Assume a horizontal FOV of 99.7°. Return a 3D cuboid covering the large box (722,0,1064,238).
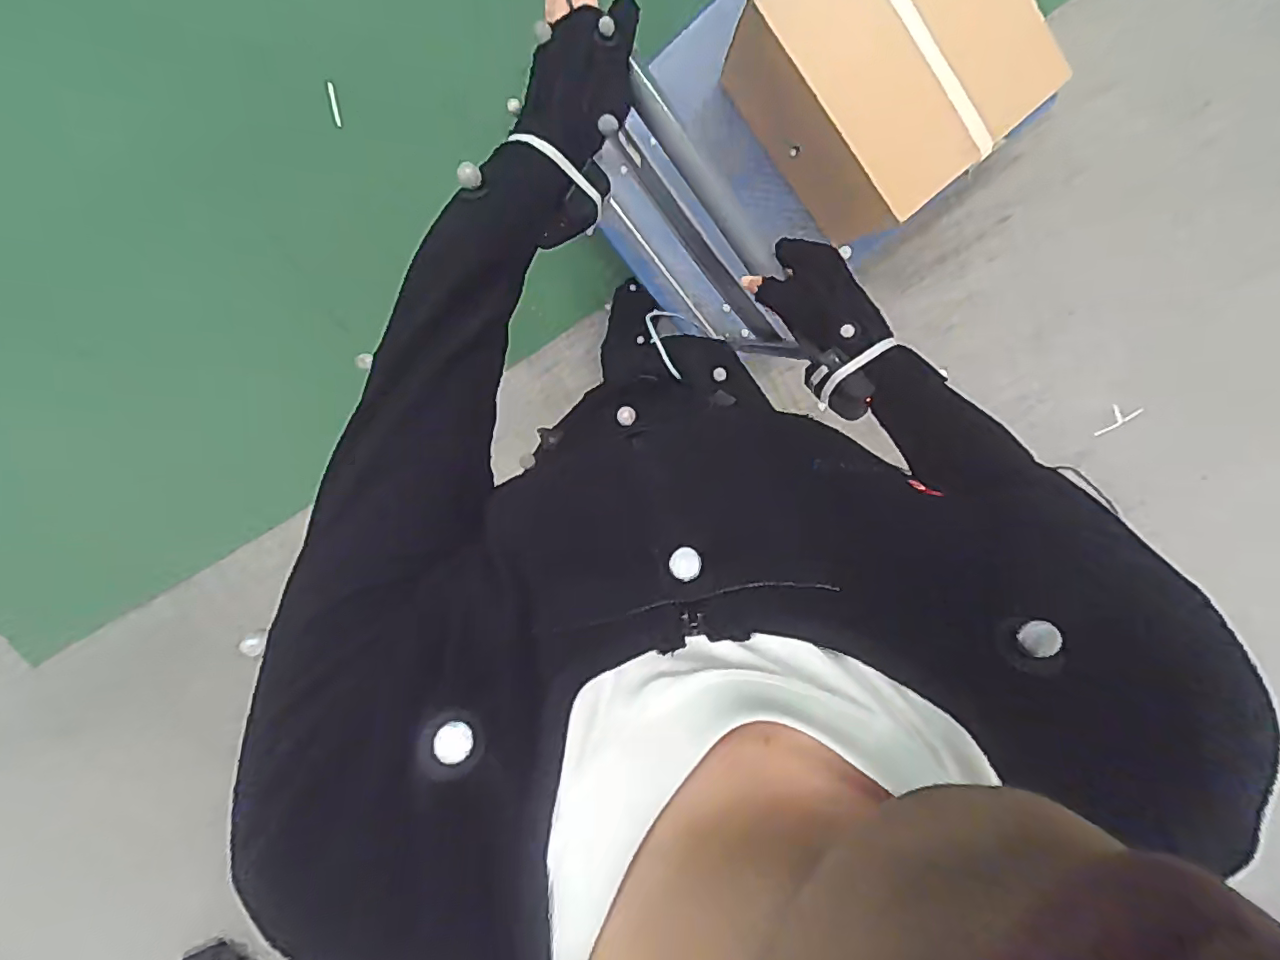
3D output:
[{"bbox_3d":[0.401,-0.706,0.947,0.320,0.320,0.408,-40,103,11],"label":"large box"}]
